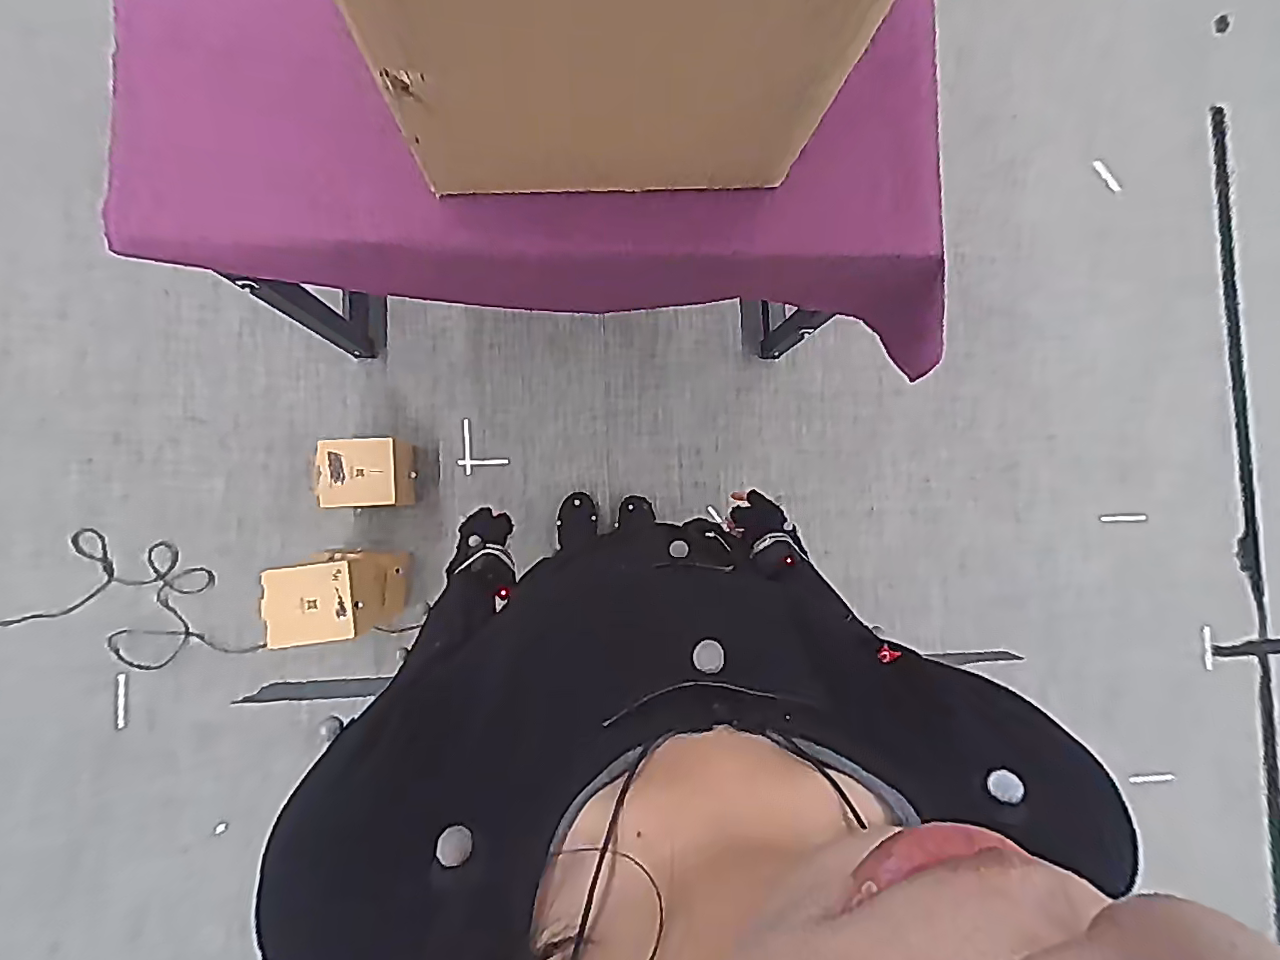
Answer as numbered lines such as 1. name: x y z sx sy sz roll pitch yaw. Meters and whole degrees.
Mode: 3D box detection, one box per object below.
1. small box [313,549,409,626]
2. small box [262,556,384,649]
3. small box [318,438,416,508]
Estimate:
1. small box: -0.700 0.265 1.365 0.179 0.176 0.168 3 86 -4
2. small box: -0.695 0.264 1.200 0.179 0.176 0.168 -6 88 -6
3. small box: -0.687 -0.014 1.374 0.179 0.176 0.168 -3 88 -7
